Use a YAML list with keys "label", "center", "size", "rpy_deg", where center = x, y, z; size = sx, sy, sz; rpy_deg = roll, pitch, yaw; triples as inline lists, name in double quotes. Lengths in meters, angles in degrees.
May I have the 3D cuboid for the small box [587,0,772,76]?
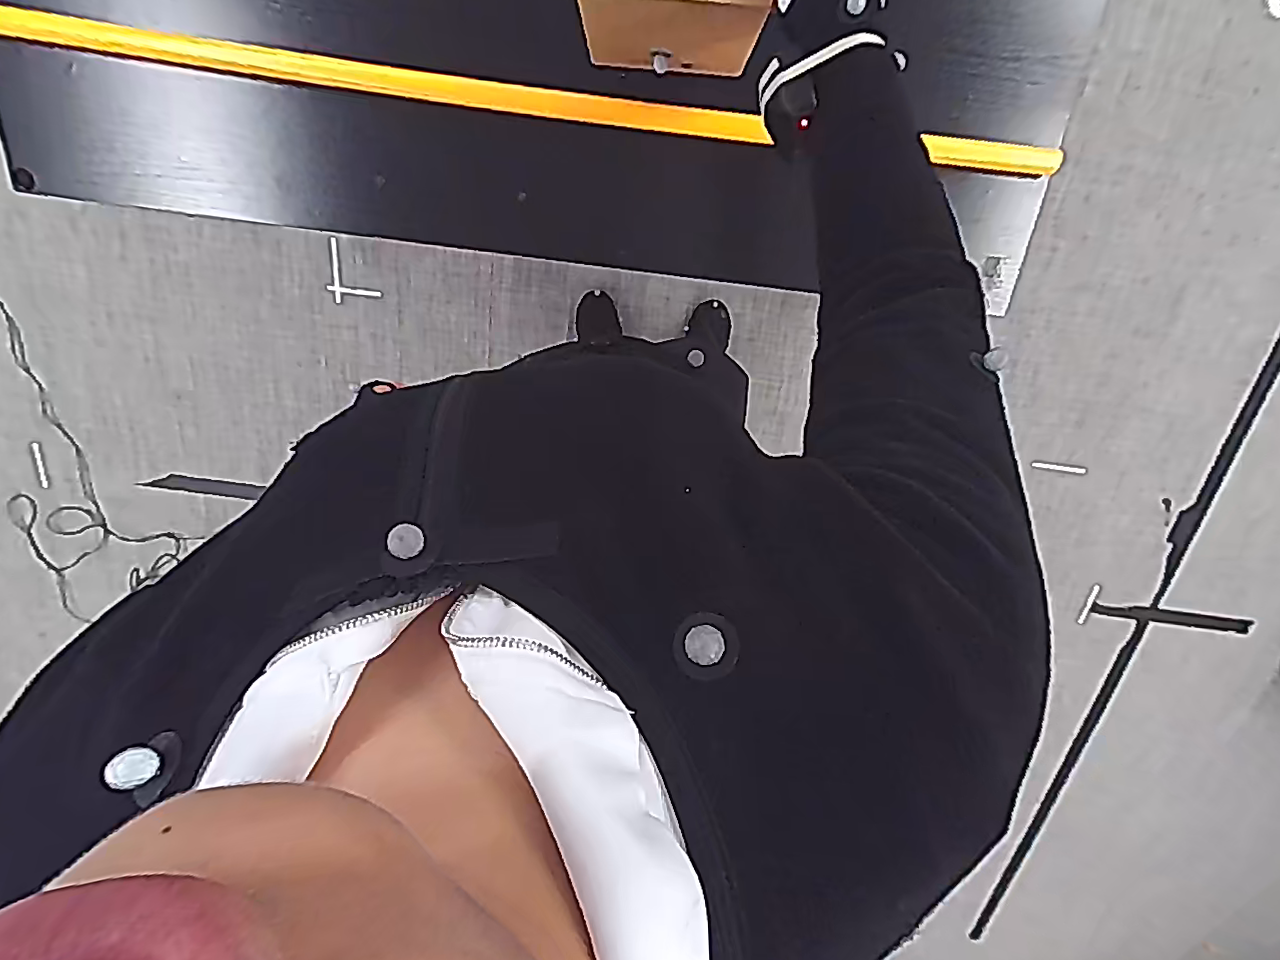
- label: "small box"
  center: [0.037, -0.509, 0.494]
  size: [0.168, 0.176, 0.179]
  rpy_deg: [5, 111, -1]
